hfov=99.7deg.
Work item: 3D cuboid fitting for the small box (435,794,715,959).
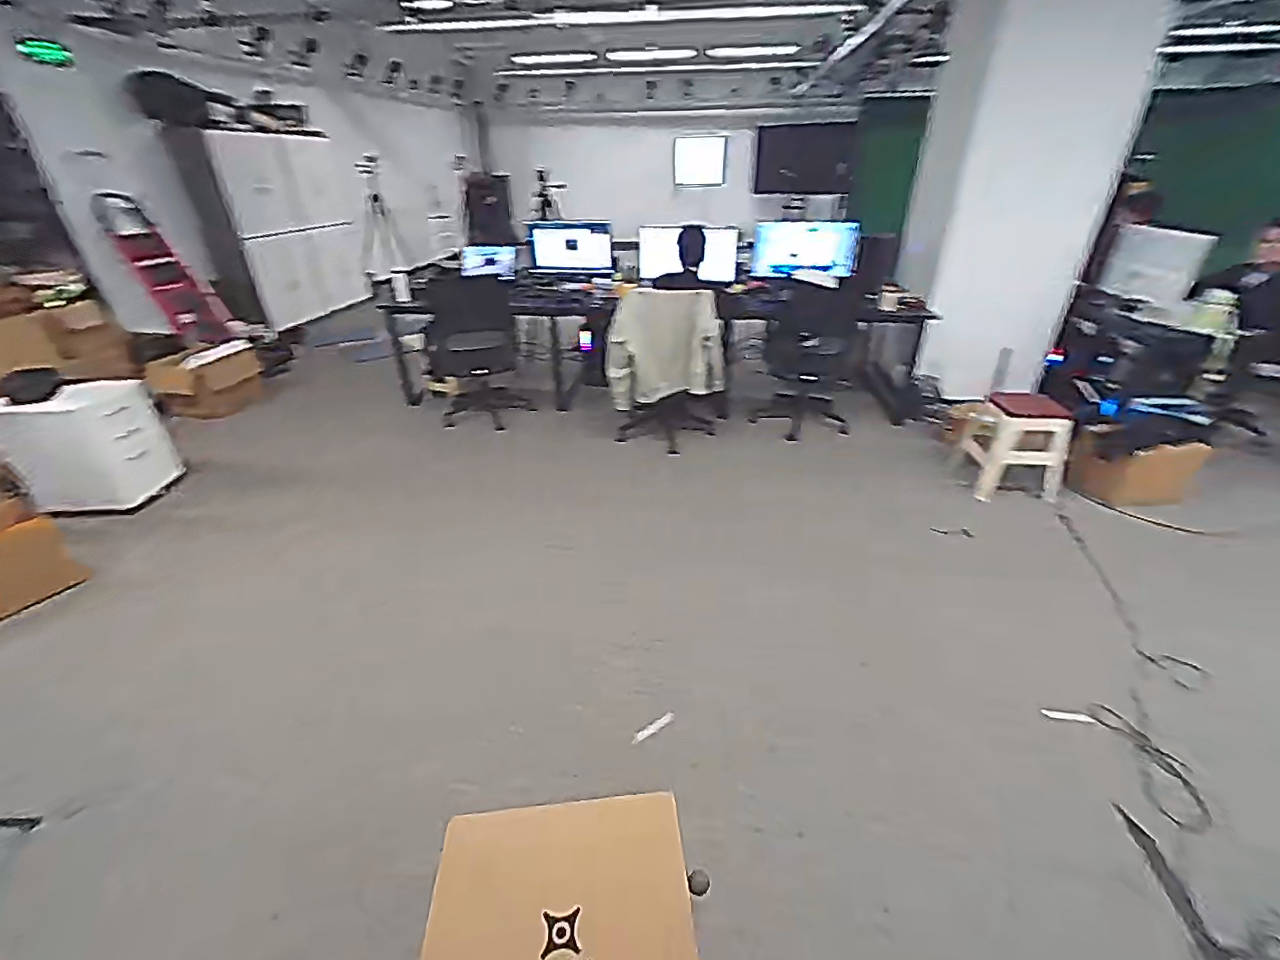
[{"bbox_3d":[-0.036,0.346,0.357,0.168,0.176,0.179,-4,30,-2],"label":"small box"}]
